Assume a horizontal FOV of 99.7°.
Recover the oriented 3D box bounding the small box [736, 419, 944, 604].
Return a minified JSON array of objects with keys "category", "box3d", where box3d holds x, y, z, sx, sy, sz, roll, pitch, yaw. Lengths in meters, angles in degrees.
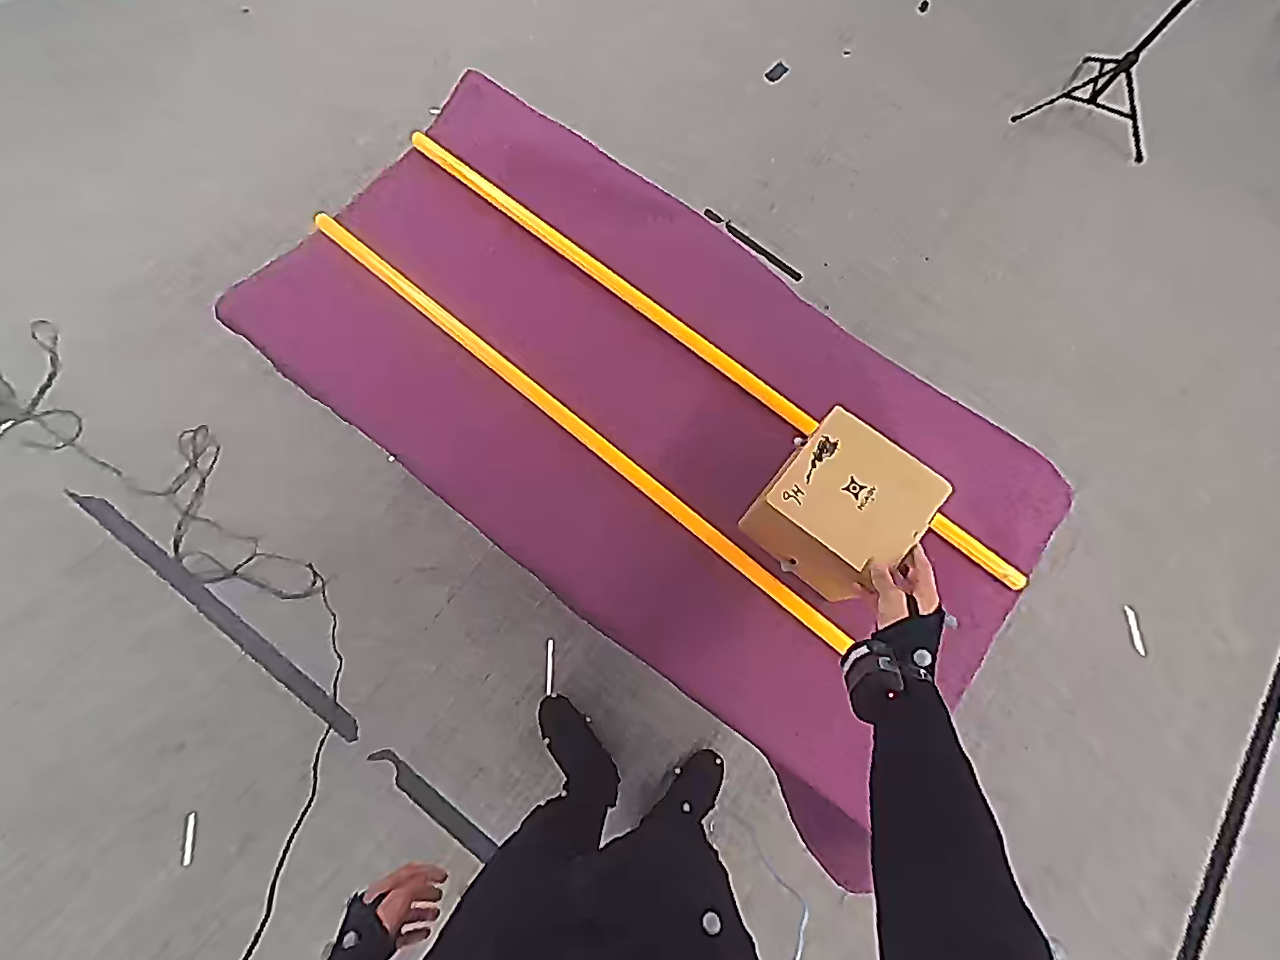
[{"category":"small box","box3d":[0.259,0.053,0.741,0.179,0.176,0.168,39,76,9]}]
